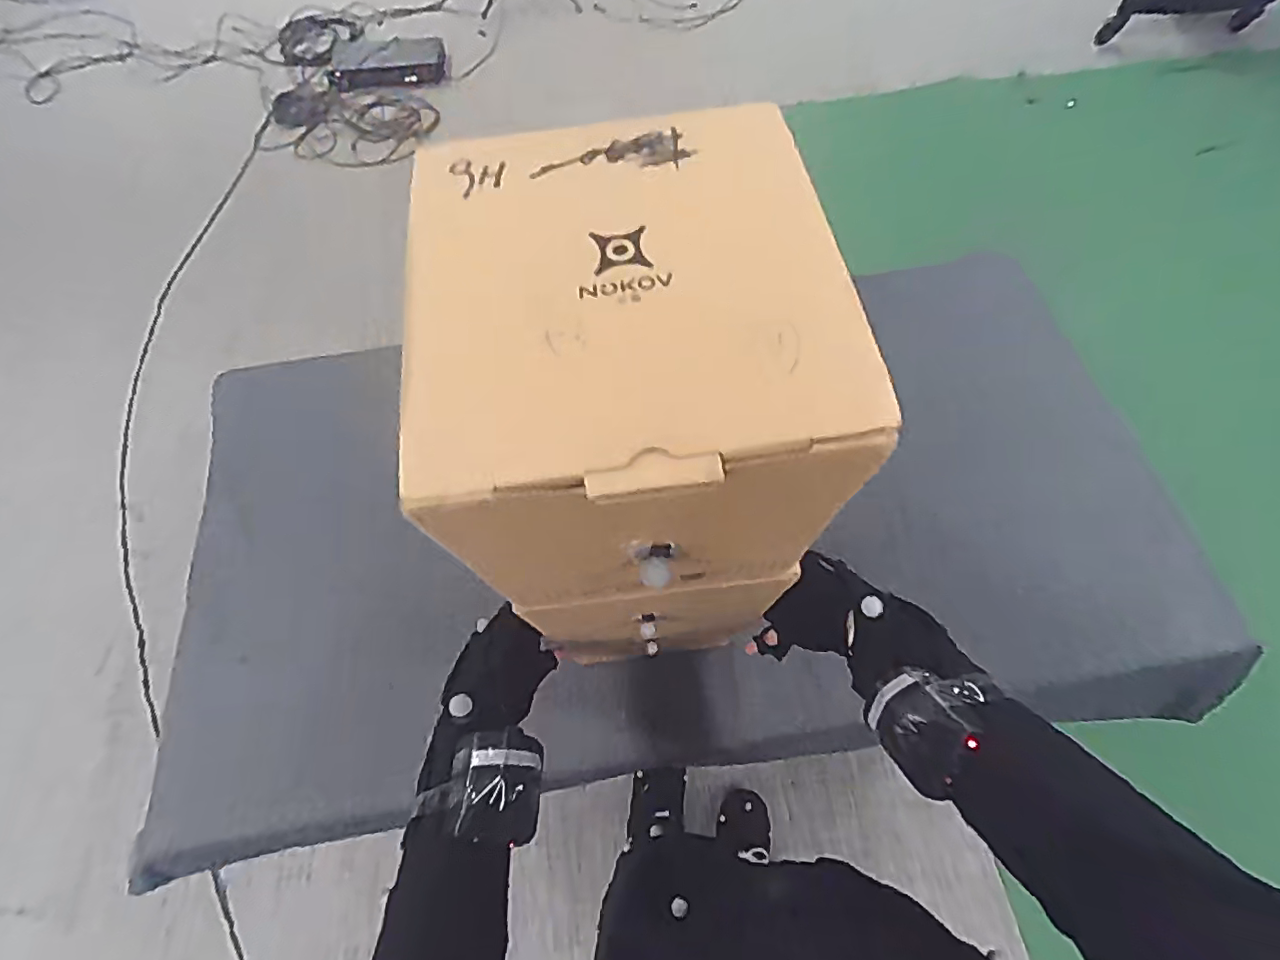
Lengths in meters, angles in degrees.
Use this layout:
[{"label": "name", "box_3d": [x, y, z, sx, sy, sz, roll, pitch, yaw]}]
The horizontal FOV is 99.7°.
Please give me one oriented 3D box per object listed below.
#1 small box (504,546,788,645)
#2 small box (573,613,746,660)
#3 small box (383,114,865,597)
[{"label": "small box", "box_3d": [-0.001, 0.028, 0.429, 0.179, 0.176, 0.168, -9, 66, 0]}, {"label": "small box", "box_3d": [0.004, 0.092, 0.582, 0.179, 0.176, 0.168, -8, 67, -3]}, {"label": "small box", "box_3d": [-0.012, -0.043, 0.283, 0.168, 0.176, 0.179, -9, 67, -1]}]
